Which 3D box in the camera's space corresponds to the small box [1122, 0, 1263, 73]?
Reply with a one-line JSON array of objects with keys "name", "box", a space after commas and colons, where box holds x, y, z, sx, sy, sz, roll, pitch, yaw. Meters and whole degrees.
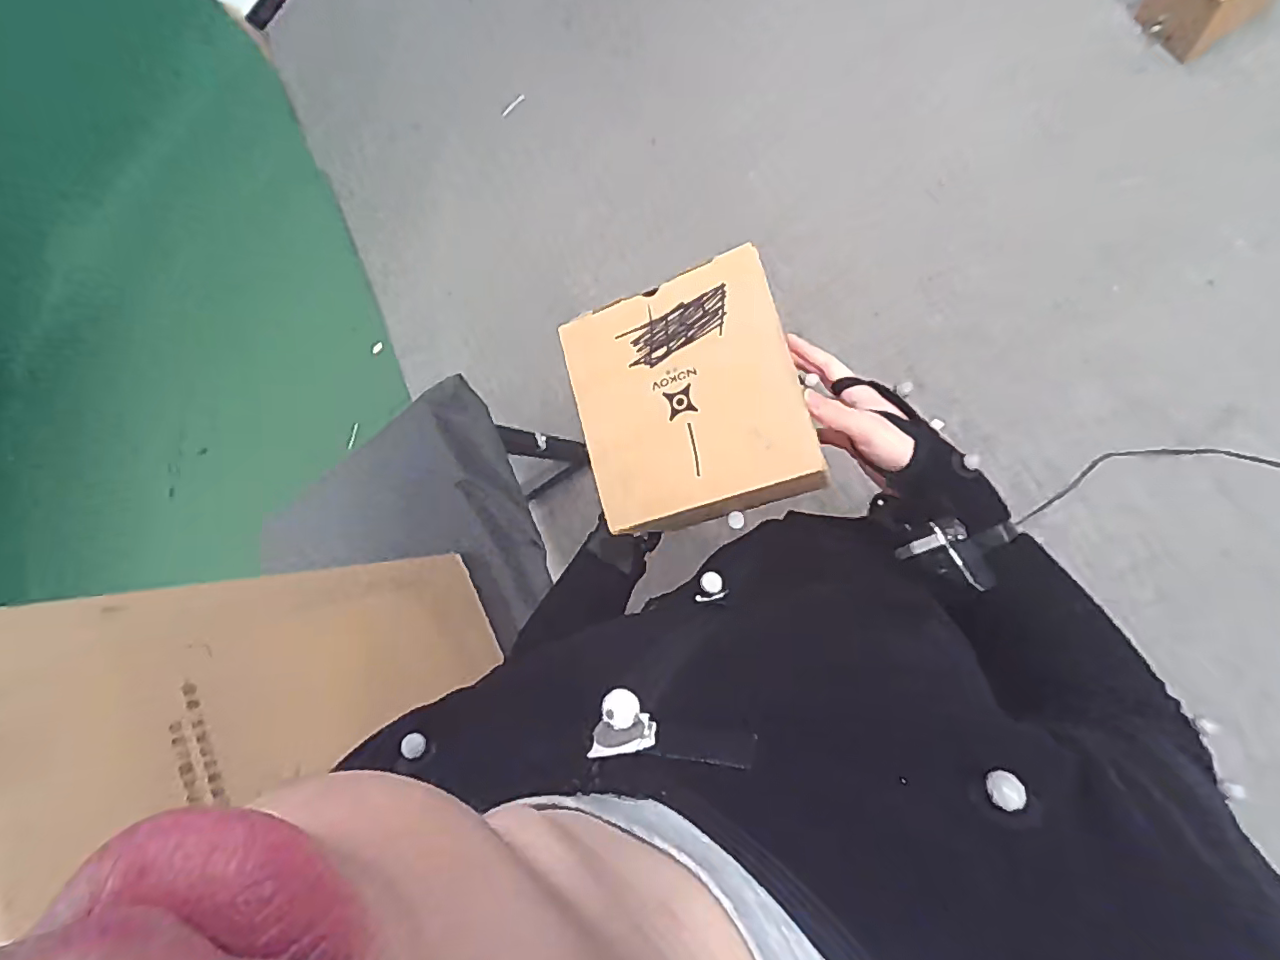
[{"name": "small box", "box": [1.186, -1.028, 1.139, 0.179, 0.176, 0.168, -32, 74, 20]}]
